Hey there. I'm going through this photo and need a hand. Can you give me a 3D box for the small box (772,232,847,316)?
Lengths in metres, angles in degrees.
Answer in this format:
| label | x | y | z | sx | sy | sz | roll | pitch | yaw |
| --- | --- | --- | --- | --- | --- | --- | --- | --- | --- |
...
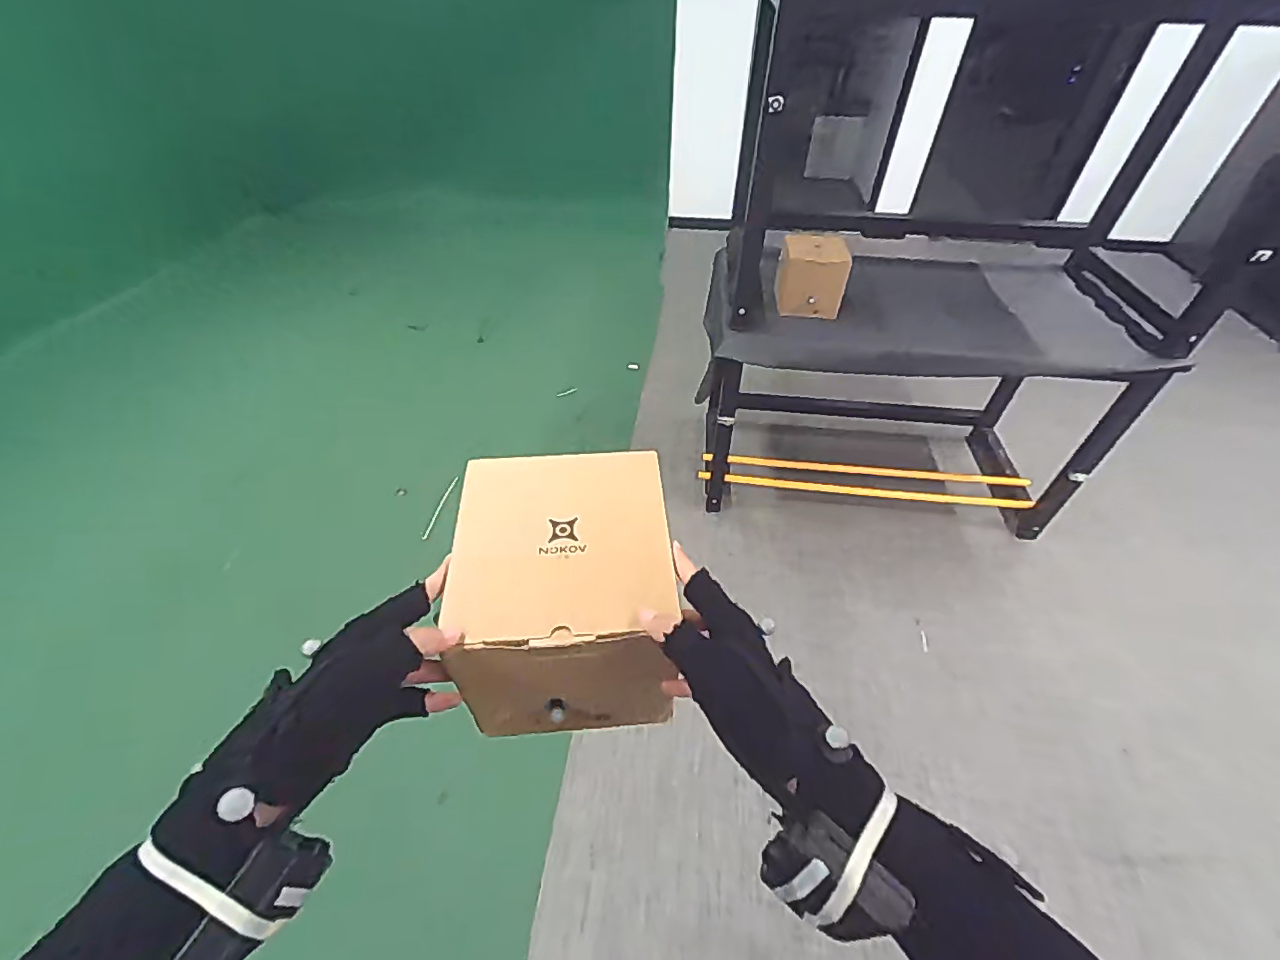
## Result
| label | x | y | z | sx | sy | sz | roll | pitch | yaw |
| --- | --- | --- | --- | --- | --- | --- | --- | --- | --- |
| small box | 0.478 | -0.592 | 1.555 | 0.168 | 0.176 | 0.179 | 4 | 45 | 4 |
